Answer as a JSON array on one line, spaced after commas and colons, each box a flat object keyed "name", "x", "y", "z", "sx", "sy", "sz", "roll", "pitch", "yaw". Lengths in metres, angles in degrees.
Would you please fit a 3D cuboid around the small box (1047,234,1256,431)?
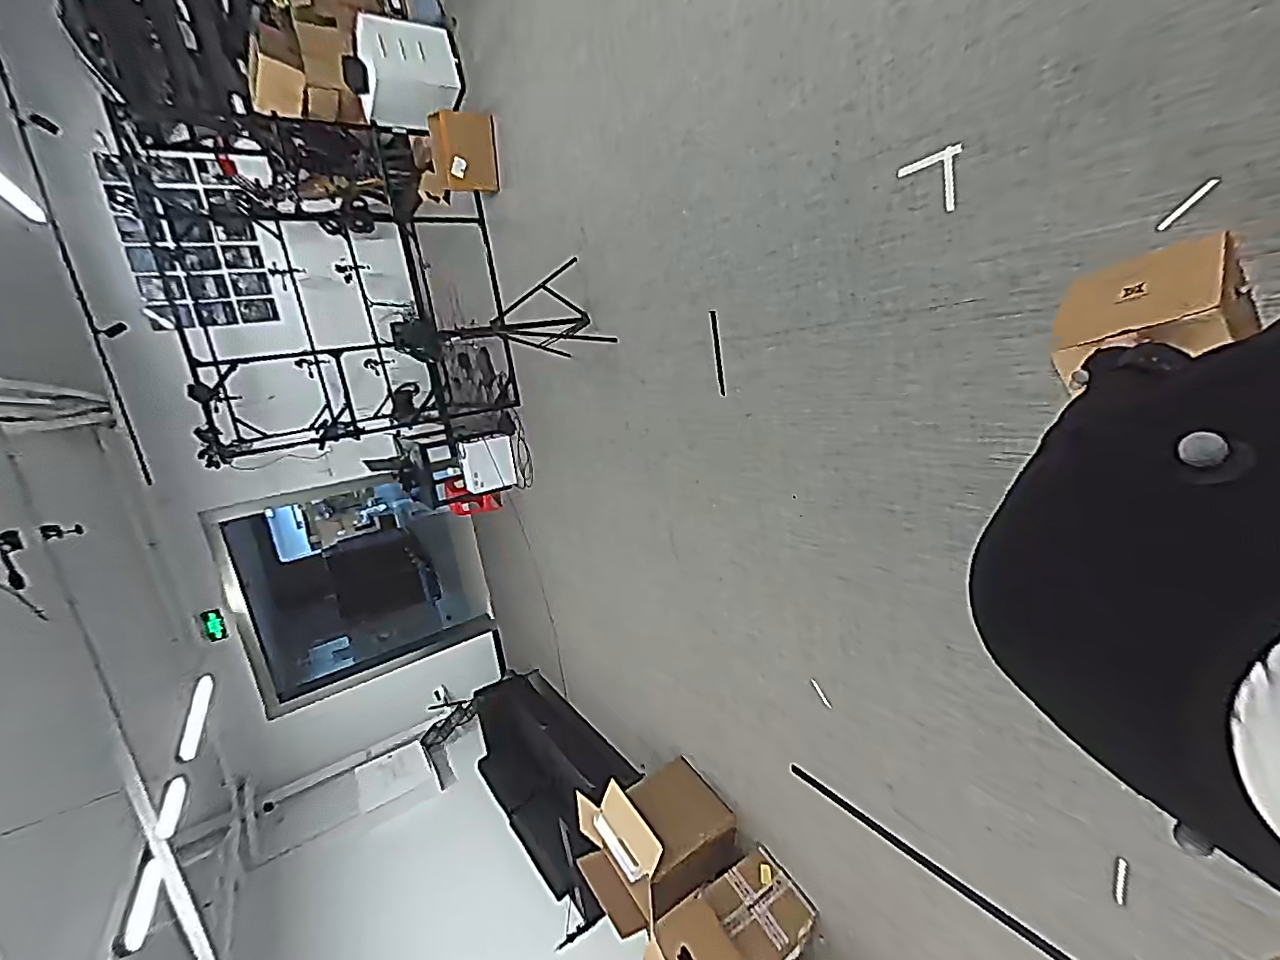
[{"name": "small box", "x": 0.694, "y": -0.184, "z": 0.733, "sx": 0.176, "sy": 0.179, "sz": 0.168, "roll": 46, "pitch": 152, "yaw": -20}]
